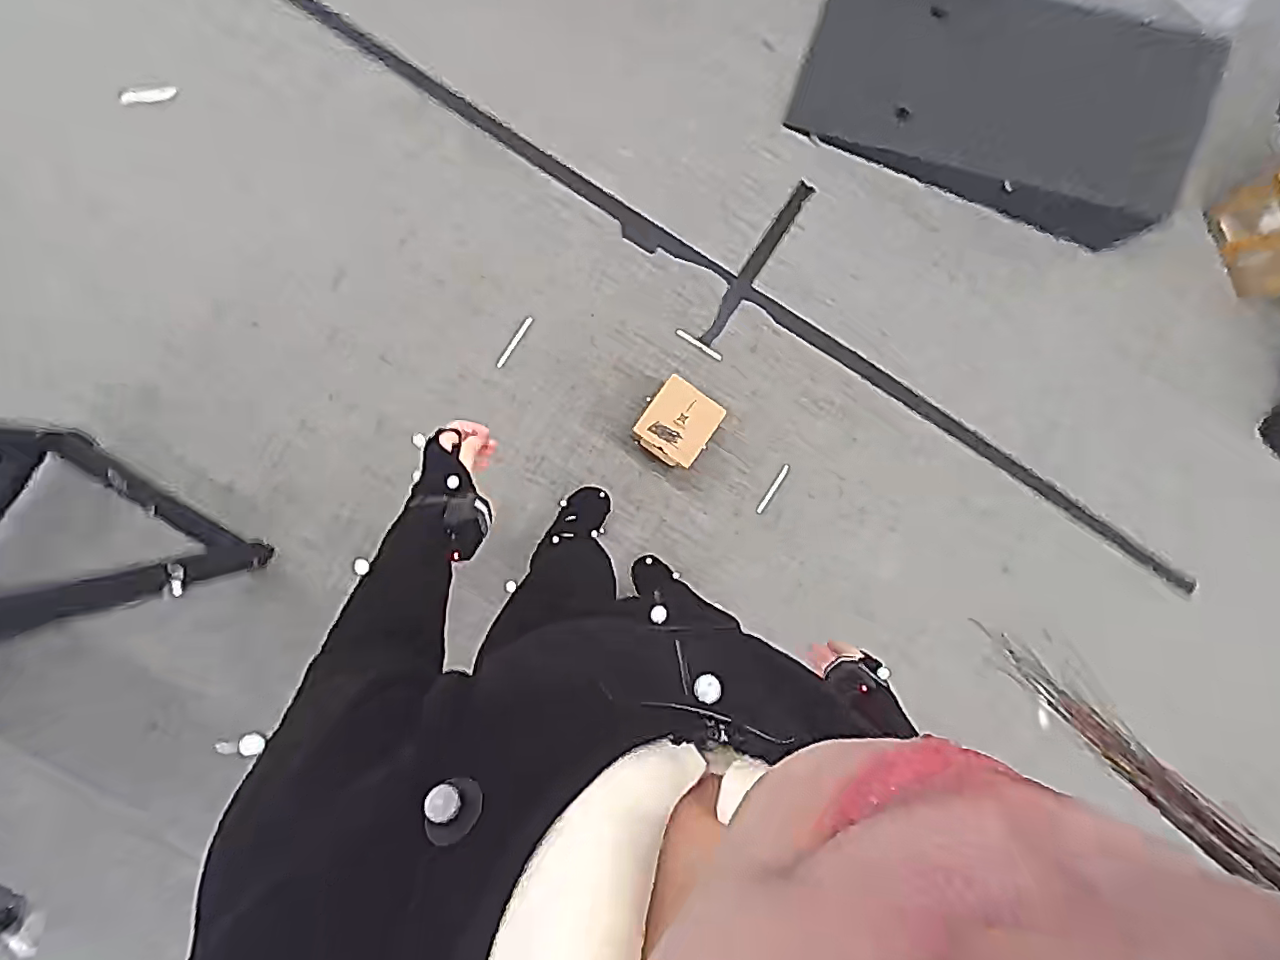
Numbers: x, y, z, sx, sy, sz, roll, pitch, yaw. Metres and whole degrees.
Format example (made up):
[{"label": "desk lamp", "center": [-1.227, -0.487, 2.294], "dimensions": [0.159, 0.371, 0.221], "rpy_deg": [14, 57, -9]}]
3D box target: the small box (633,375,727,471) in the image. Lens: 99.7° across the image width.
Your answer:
[{"label": "small box", "center": [0.094, -0.137, 1.375], "dimensions": [0.168, 0.176, 0.179], "rpy_deg": [36, 88, -5]}]
